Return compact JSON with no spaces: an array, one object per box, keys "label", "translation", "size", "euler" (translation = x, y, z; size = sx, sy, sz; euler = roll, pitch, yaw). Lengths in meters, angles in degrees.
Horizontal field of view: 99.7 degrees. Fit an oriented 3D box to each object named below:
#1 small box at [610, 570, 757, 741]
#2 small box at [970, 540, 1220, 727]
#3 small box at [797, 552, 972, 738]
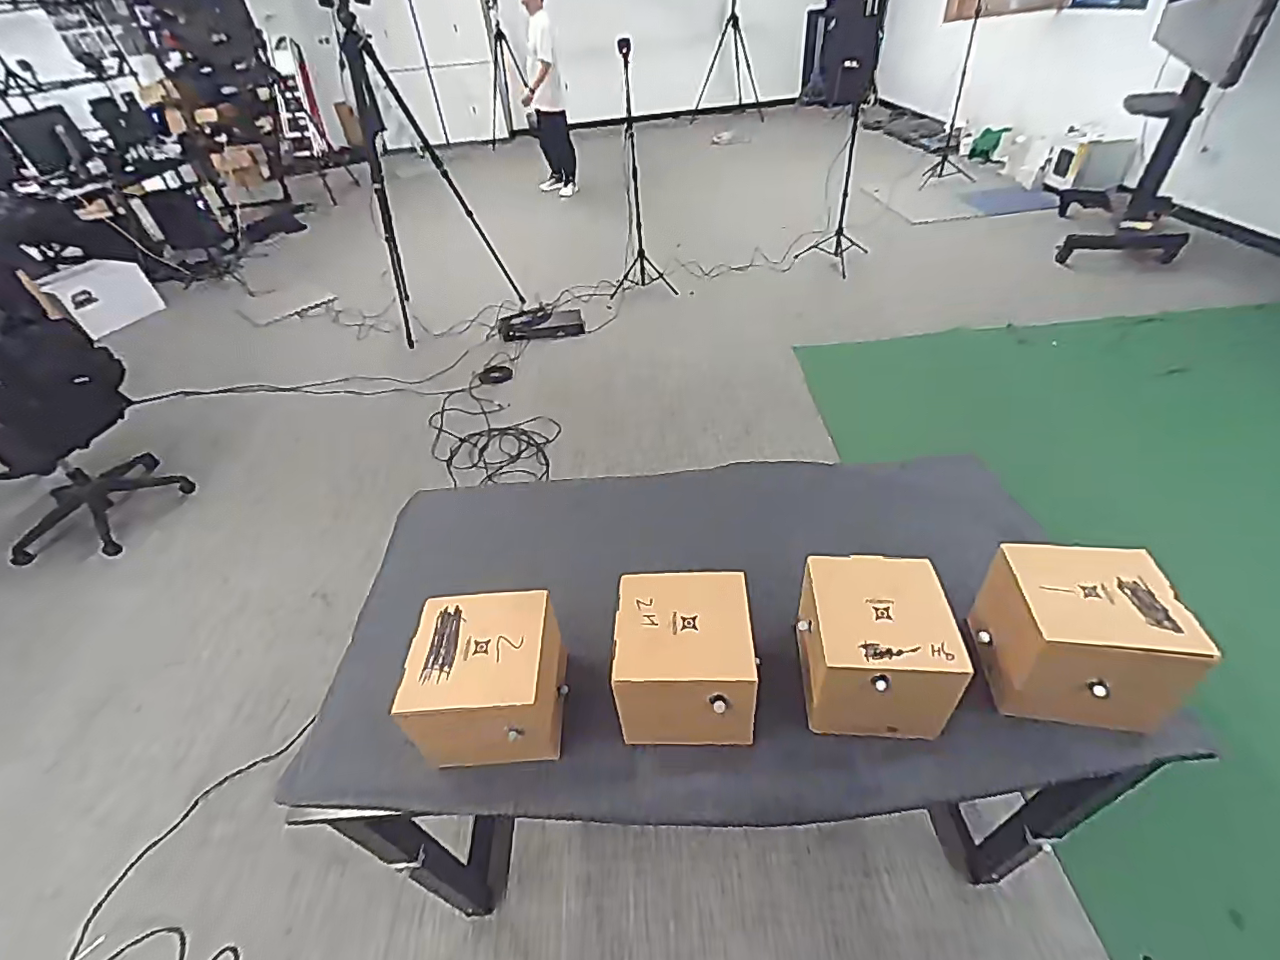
[{"label":"small box","translation":[0.063,0.242,0.747],"size":[0.179,0.176,0.168],"euler":[-3,40,7]},{"label":"small box","translation":[0.572,0.202,0.715],"size":[0.179,0.176,0.168],"euler":[3,39,13]},{"label":"small box","translation":[0.312,0.221,0.736],"size":[0.168,0.176,0.179],"euler":[1,40,8]}]
